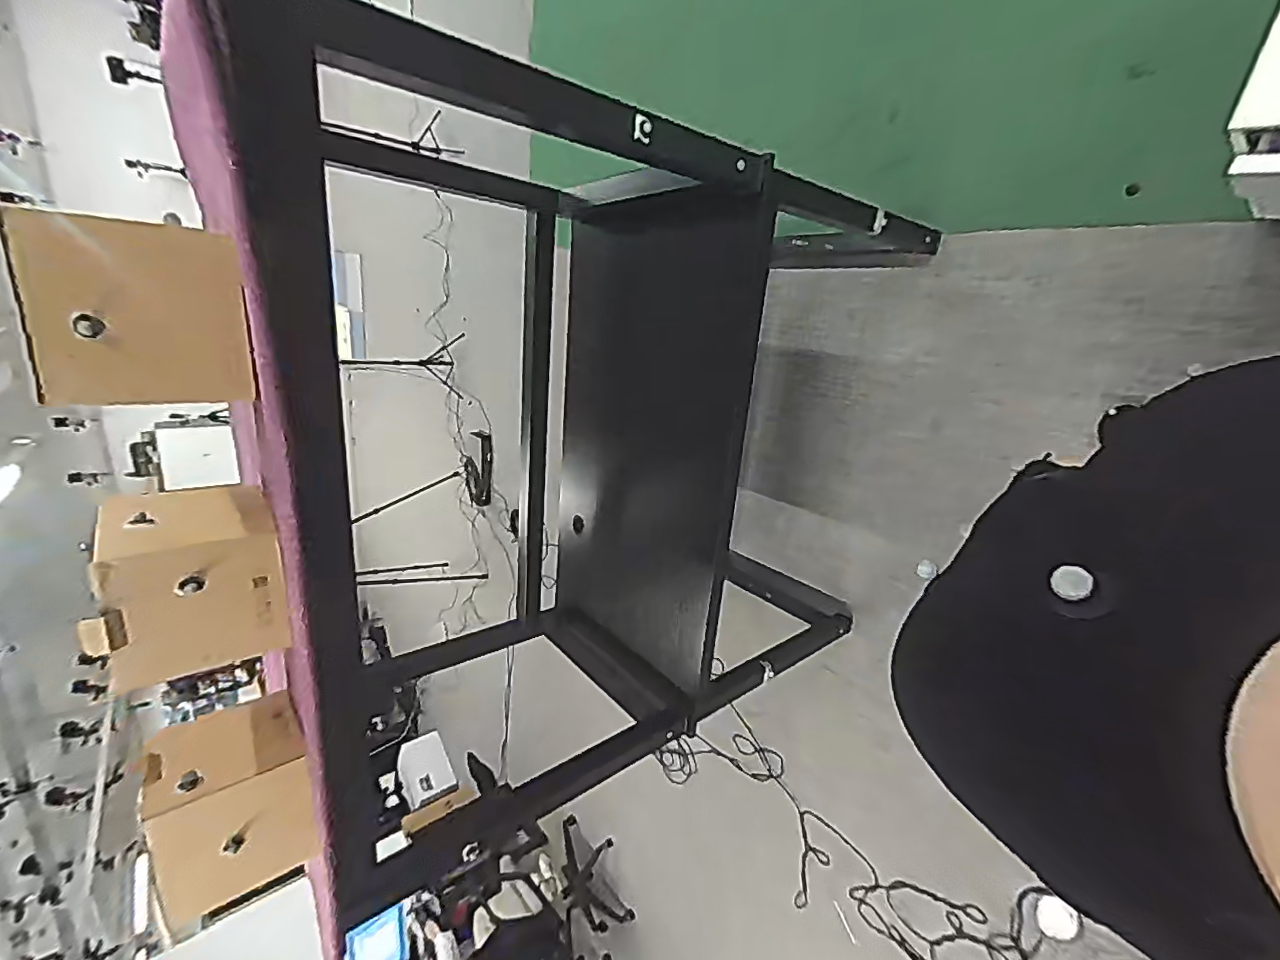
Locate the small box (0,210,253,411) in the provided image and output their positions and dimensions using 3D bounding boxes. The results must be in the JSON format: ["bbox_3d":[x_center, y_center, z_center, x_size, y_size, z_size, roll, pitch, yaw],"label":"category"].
[{"bbox_3d":[-0.533,-0.179,0.584,0.168,0.176,0.179,24,115,48],"label":"small box"}]

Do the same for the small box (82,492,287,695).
[{"bbox_3d":[-0.548,0.122,0.669,0.179,0.176,0.168,27,117,45],"label":"small box"}]
